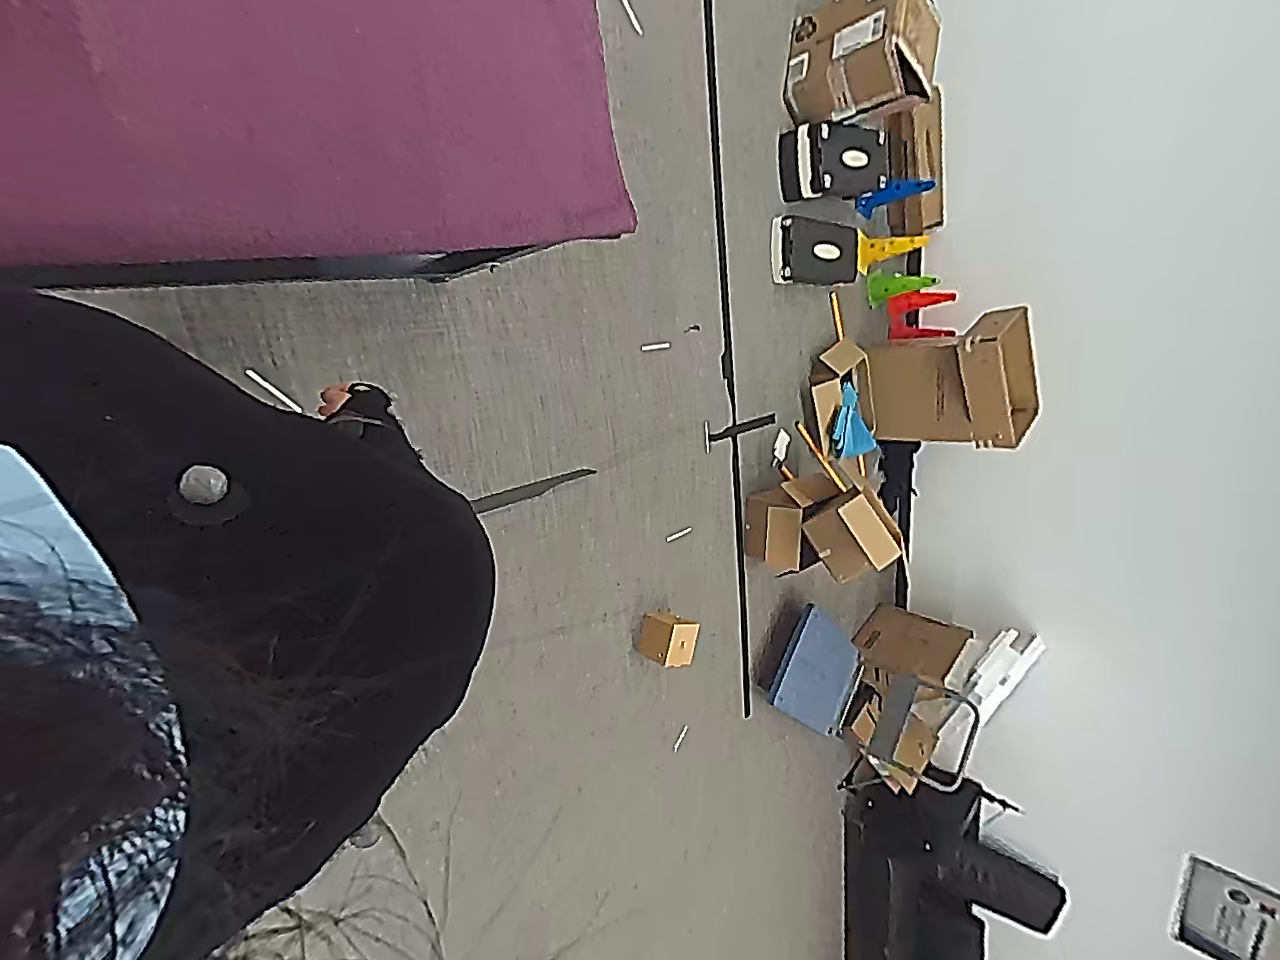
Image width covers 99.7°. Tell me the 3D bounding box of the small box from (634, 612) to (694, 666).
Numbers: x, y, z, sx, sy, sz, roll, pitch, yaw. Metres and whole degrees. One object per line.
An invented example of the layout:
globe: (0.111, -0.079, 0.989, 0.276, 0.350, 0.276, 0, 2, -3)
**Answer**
small box: (0.096, 0.659, 2.261, 0.168, 0.176, 0.179, 14, 89, -45)
